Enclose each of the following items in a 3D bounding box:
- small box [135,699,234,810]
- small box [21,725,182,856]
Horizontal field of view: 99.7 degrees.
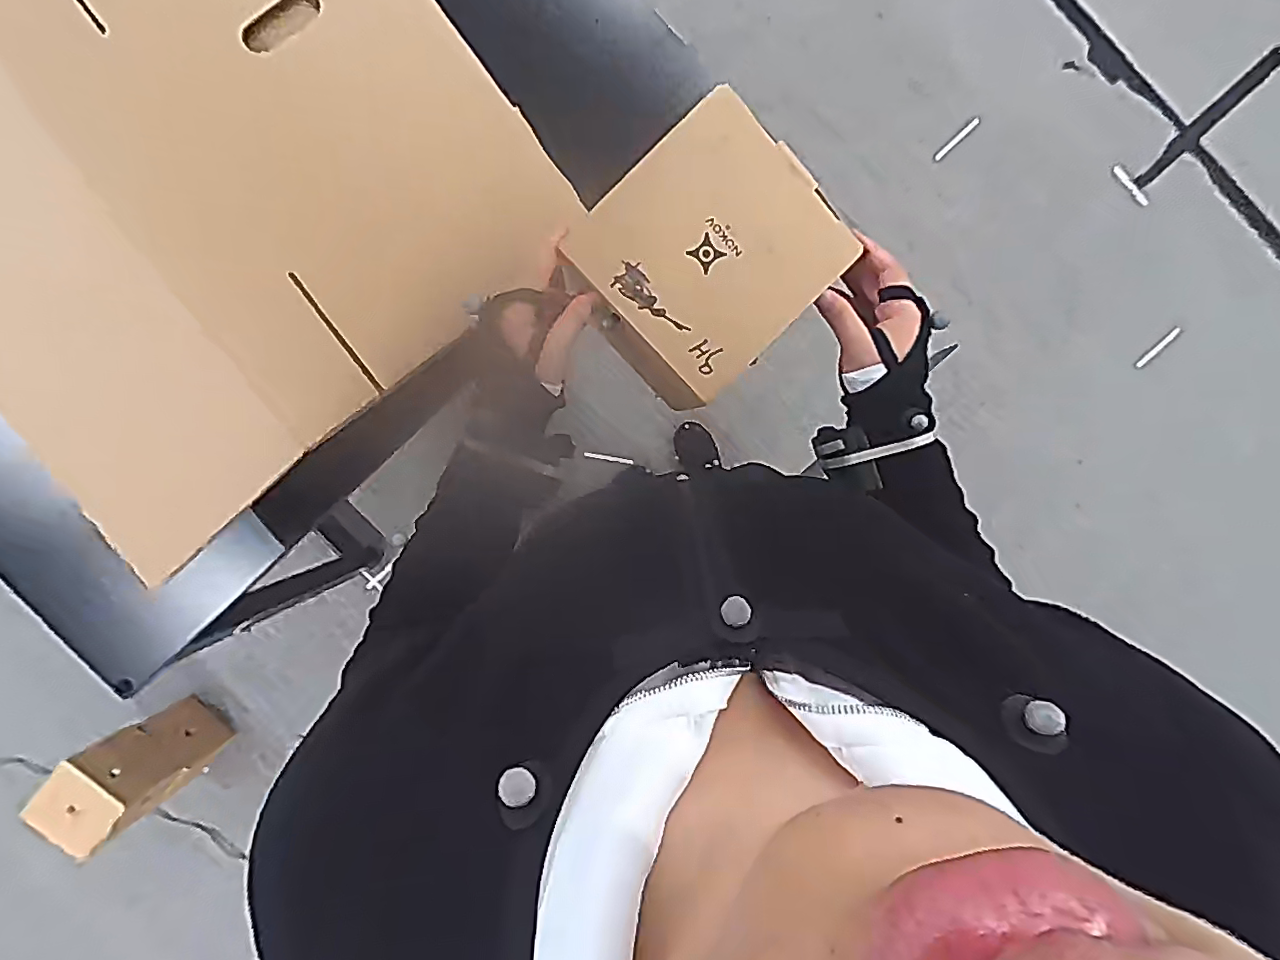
[{"bbox_3d":[-1.253,0.716,1.441,0.179,0.176,0.168,44,92,-3],"label":"small box"},{"bbox_3d":[-1.256,0.721,1.279,0.179,0.176,0.168,40,91,-1],"label":"small box"}]
